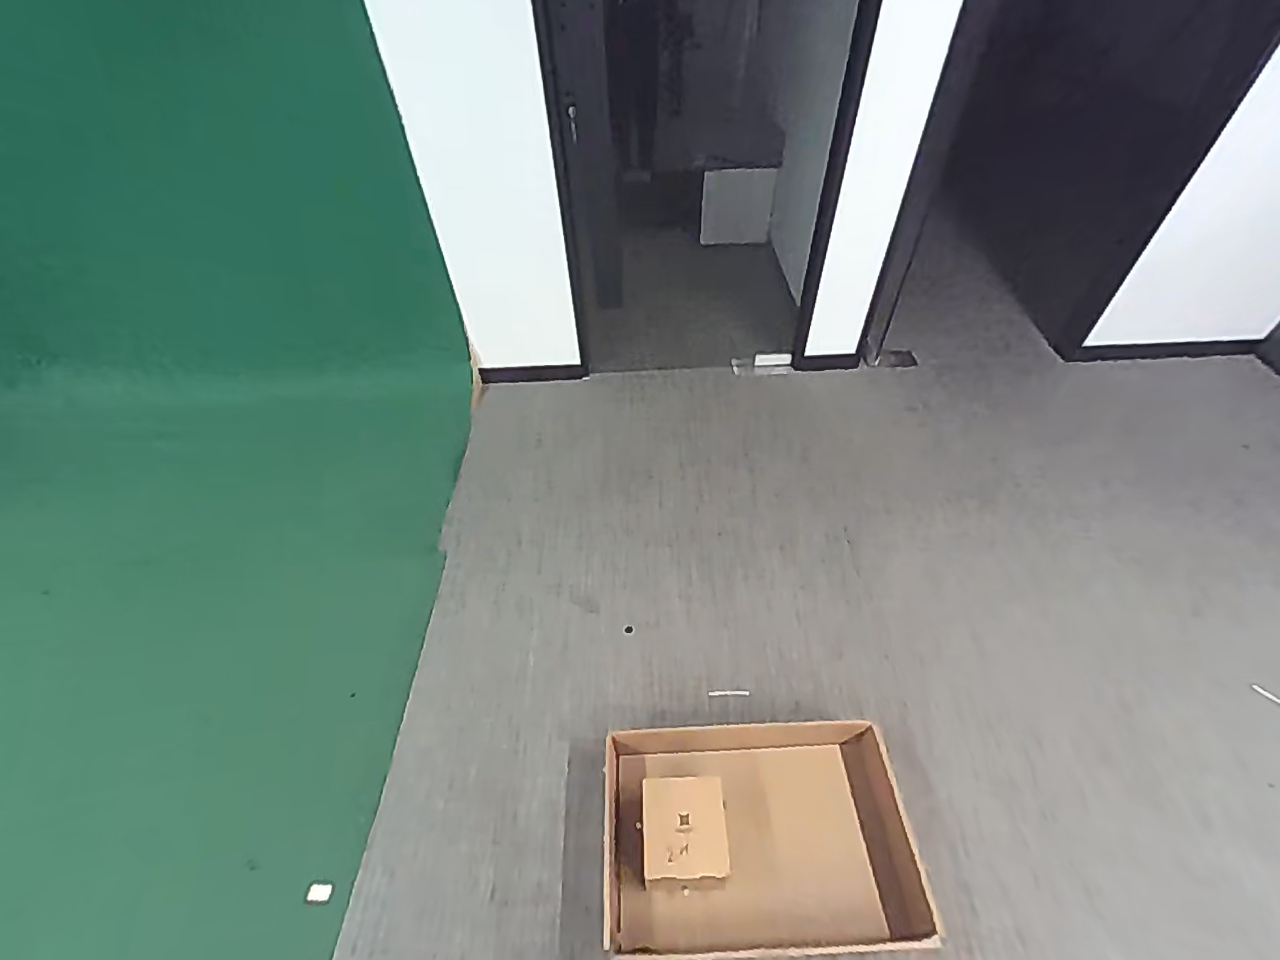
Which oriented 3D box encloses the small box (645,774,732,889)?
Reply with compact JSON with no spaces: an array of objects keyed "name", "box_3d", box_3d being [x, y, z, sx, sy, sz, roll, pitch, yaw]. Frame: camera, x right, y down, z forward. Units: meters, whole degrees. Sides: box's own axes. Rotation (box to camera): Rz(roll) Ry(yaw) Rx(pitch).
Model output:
[{"name":"small box","box_3d":[0.094,0.736,1.133,0.168,0.176,0.179,-2,47,1]}]
